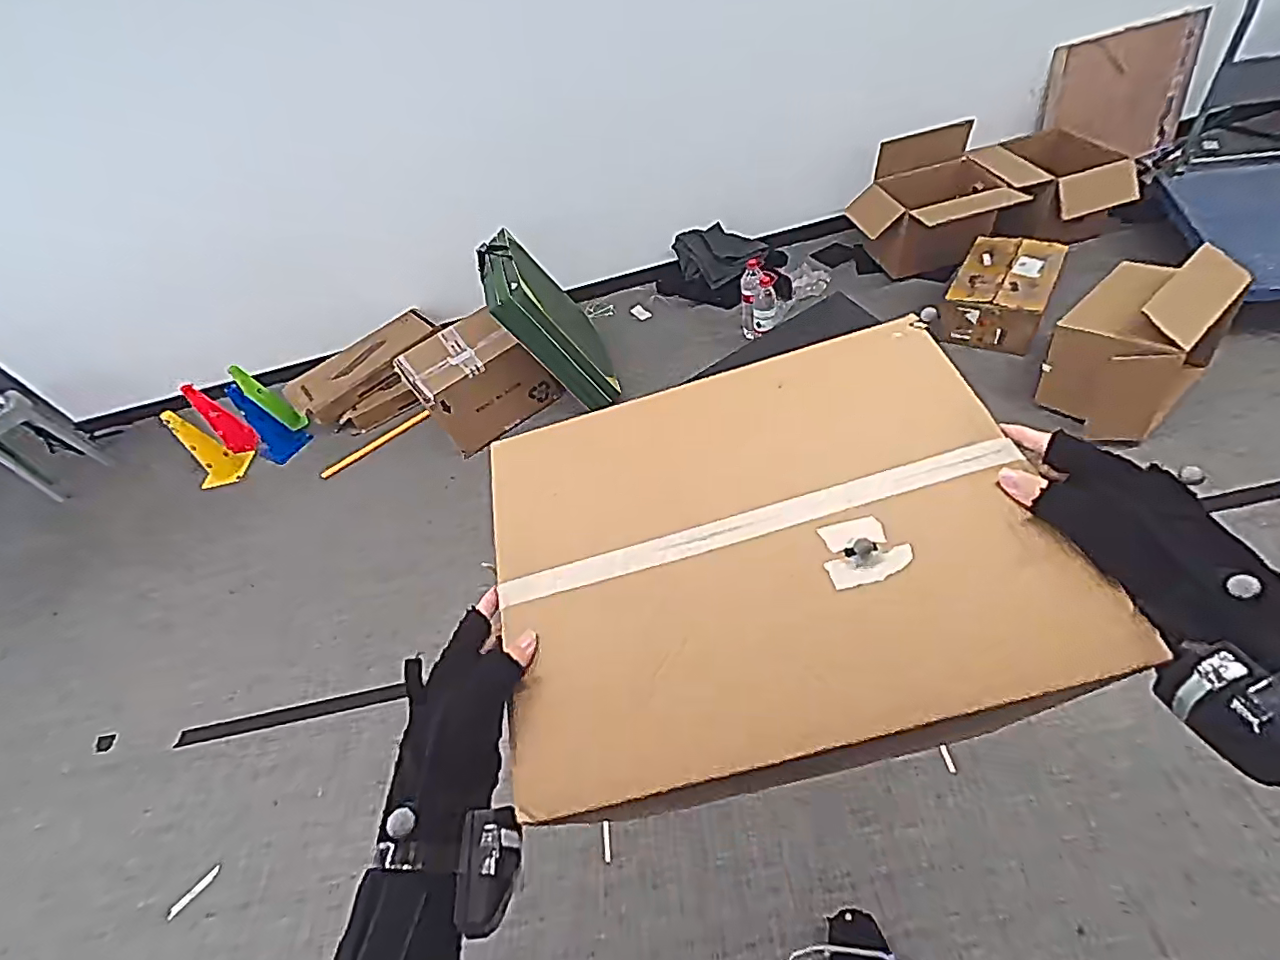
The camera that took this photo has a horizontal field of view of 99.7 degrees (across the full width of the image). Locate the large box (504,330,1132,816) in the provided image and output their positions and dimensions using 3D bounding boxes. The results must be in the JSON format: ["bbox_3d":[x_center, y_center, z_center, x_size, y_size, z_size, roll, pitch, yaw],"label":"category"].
[{"bbox_3d":[0.118,0.116,0.551,0.408,0.320,0.320,-17,57,3],"label":"large box"}]
